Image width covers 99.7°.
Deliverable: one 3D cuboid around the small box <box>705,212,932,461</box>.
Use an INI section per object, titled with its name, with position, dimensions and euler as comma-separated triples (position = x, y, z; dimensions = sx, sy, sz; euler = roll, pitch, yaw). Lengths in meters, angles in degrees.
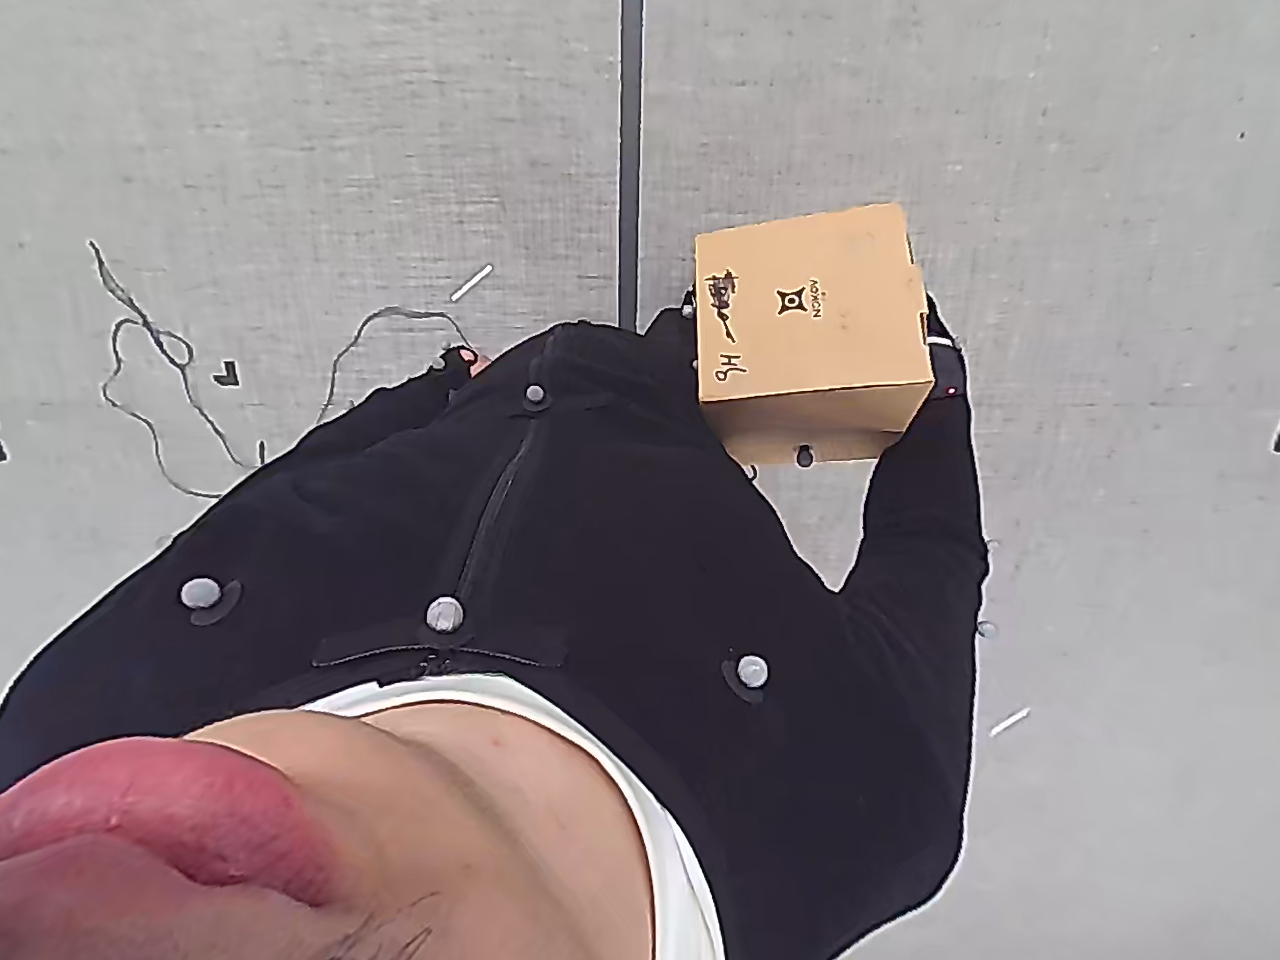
[small box]
position = 0.158, -0.124, 0.529
dimensions = 0.179, 0.176, 0.168
euler = -3, 71, 12
